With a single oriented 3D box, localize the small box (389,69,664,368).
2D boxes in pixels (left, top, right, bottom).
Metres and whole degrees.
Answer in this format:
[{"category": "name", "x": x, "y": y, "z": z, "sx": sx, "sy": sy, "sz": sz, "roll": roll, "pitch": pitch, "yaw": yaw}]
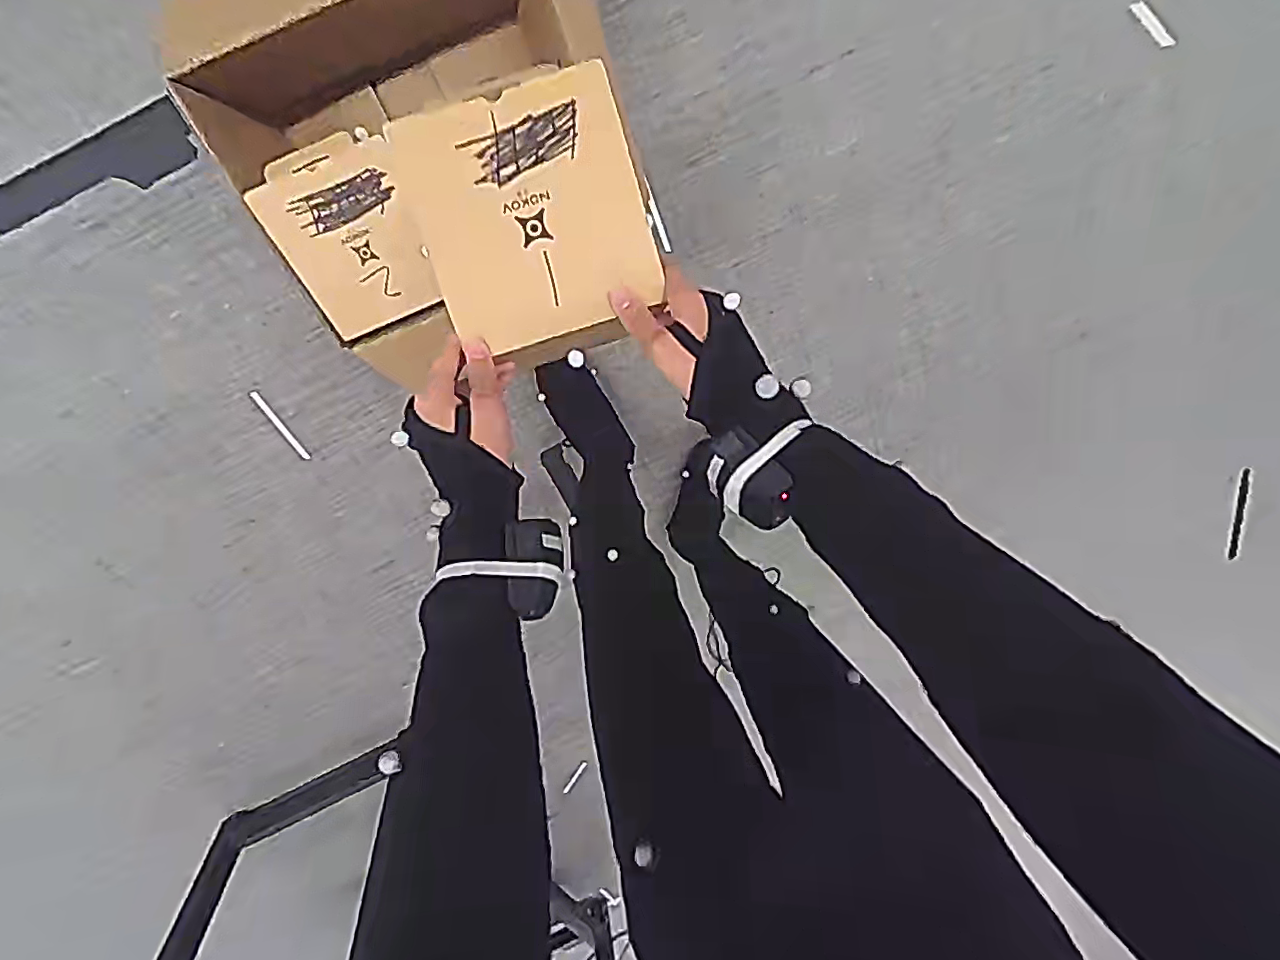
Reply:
[{"category": "small box", "x": -0.088, "y": -0.209, "z": 0.485, "sx": 0.168, "sy": 0.176, "sz": 0.179, "roll": -17, "pitch": 100, "yaw": -1}]
